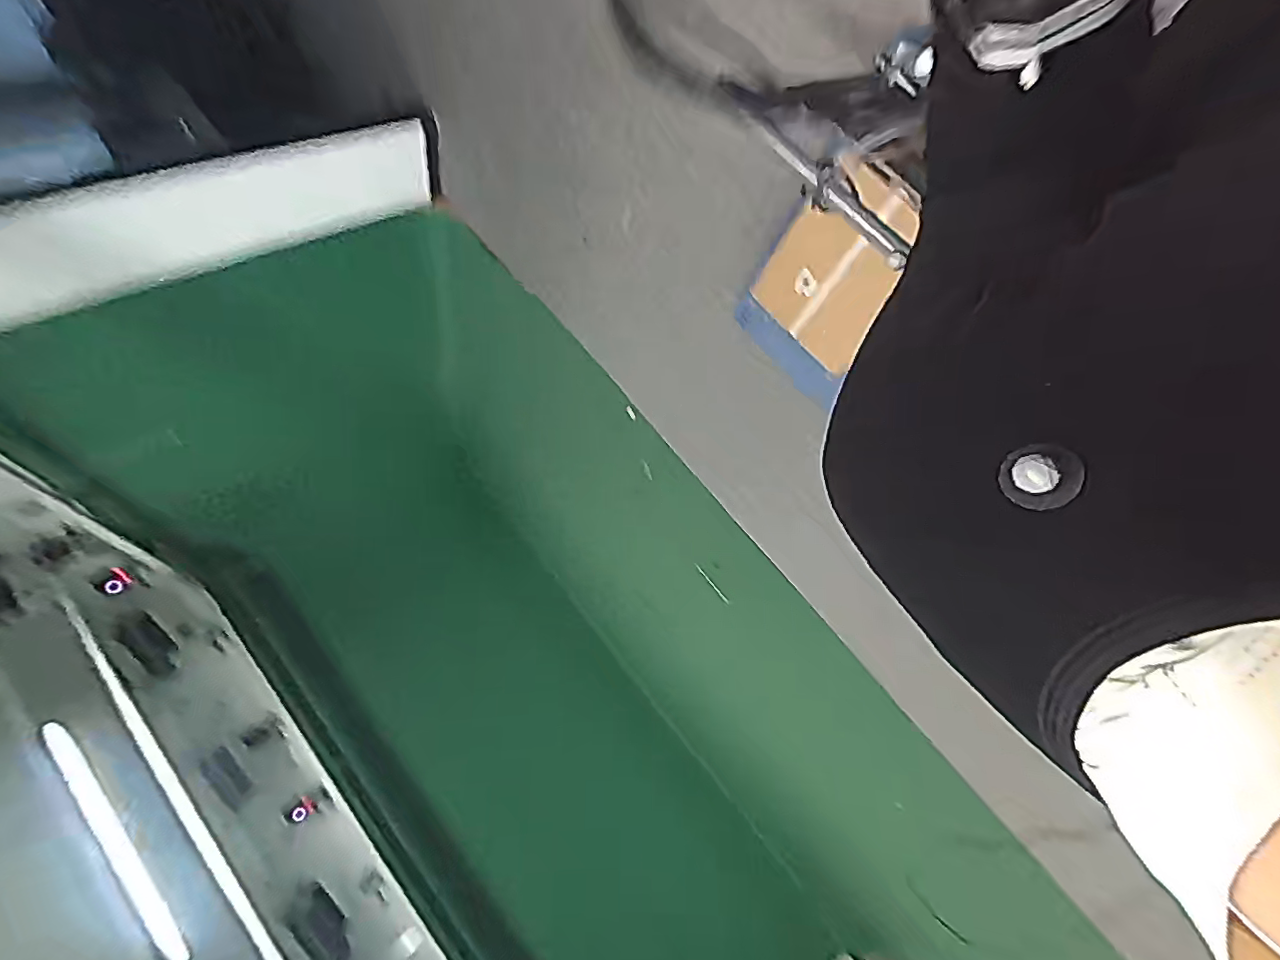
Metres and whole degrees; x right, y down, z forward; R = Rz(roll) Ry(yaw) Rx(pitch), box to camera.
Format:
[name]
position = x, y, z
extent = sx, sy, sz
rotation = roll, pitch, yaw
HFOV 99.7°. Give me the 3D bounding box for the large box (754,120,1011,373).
[large box]
position = 0.551, -0.541, 1.282
extent = 0.320, 0.320, 0.408
rotation = 50, 150, 9
